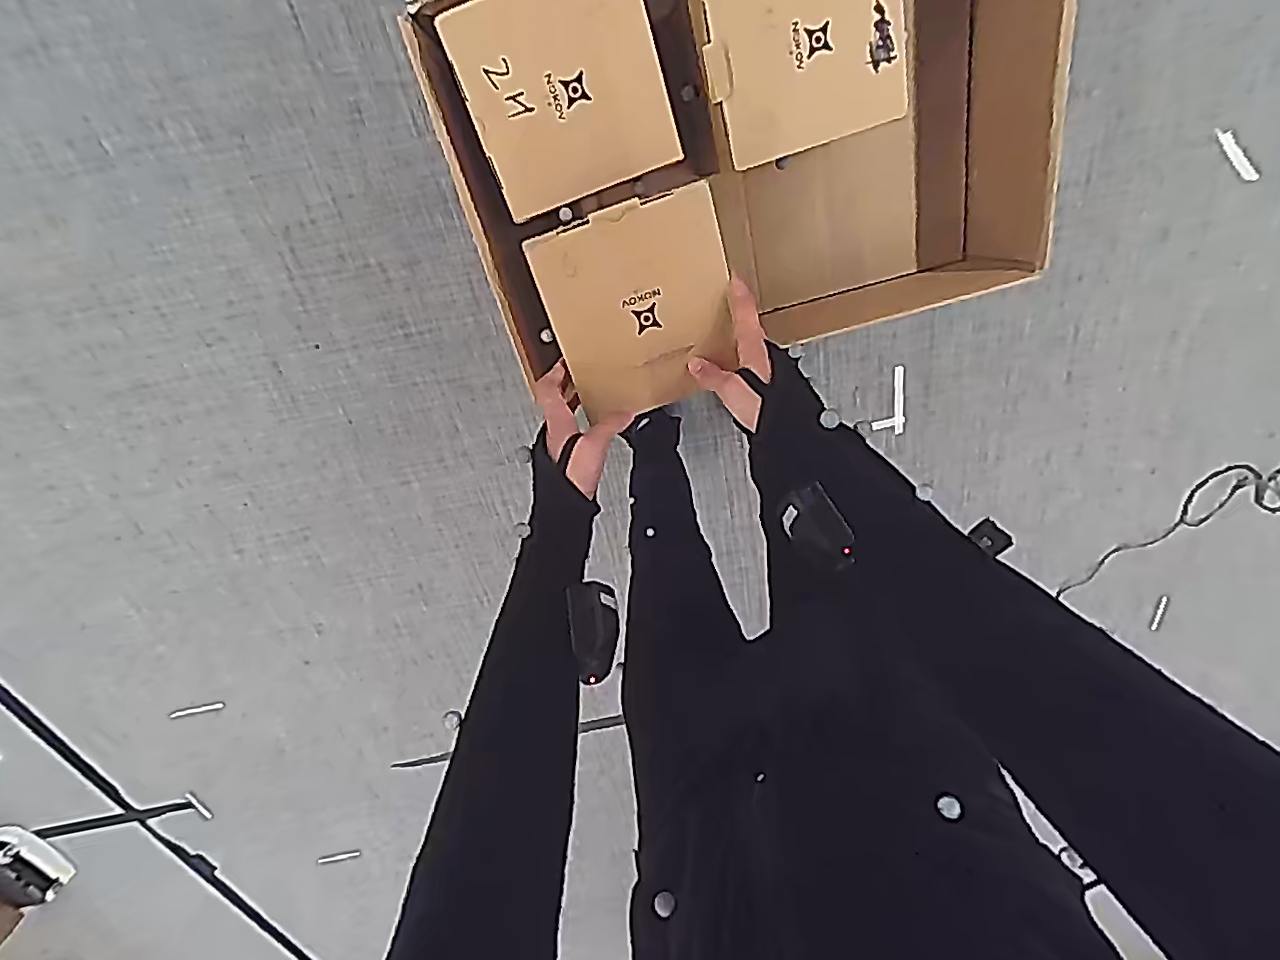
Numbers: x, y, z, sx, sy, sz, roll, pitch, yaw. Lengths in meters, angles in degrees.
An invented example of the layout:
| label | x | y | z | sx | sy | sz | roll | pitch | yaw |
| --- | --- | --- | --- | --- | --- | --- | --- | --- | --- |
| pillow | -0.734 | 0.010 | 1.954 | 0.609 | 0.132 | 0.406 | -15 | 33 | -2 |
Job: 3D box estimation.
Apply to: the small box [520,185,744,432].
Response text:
| label | x | y | z | sx | sy | sz | roll | pitch | yaw |
| --- | --- | --- | --- | --- | --- | --- | --- | --- | --- |
| small box | -0.014 | -0.175 | 0.554 | 0.168 | 0.176 | 0.179 | -20 | 115 | -1 |
